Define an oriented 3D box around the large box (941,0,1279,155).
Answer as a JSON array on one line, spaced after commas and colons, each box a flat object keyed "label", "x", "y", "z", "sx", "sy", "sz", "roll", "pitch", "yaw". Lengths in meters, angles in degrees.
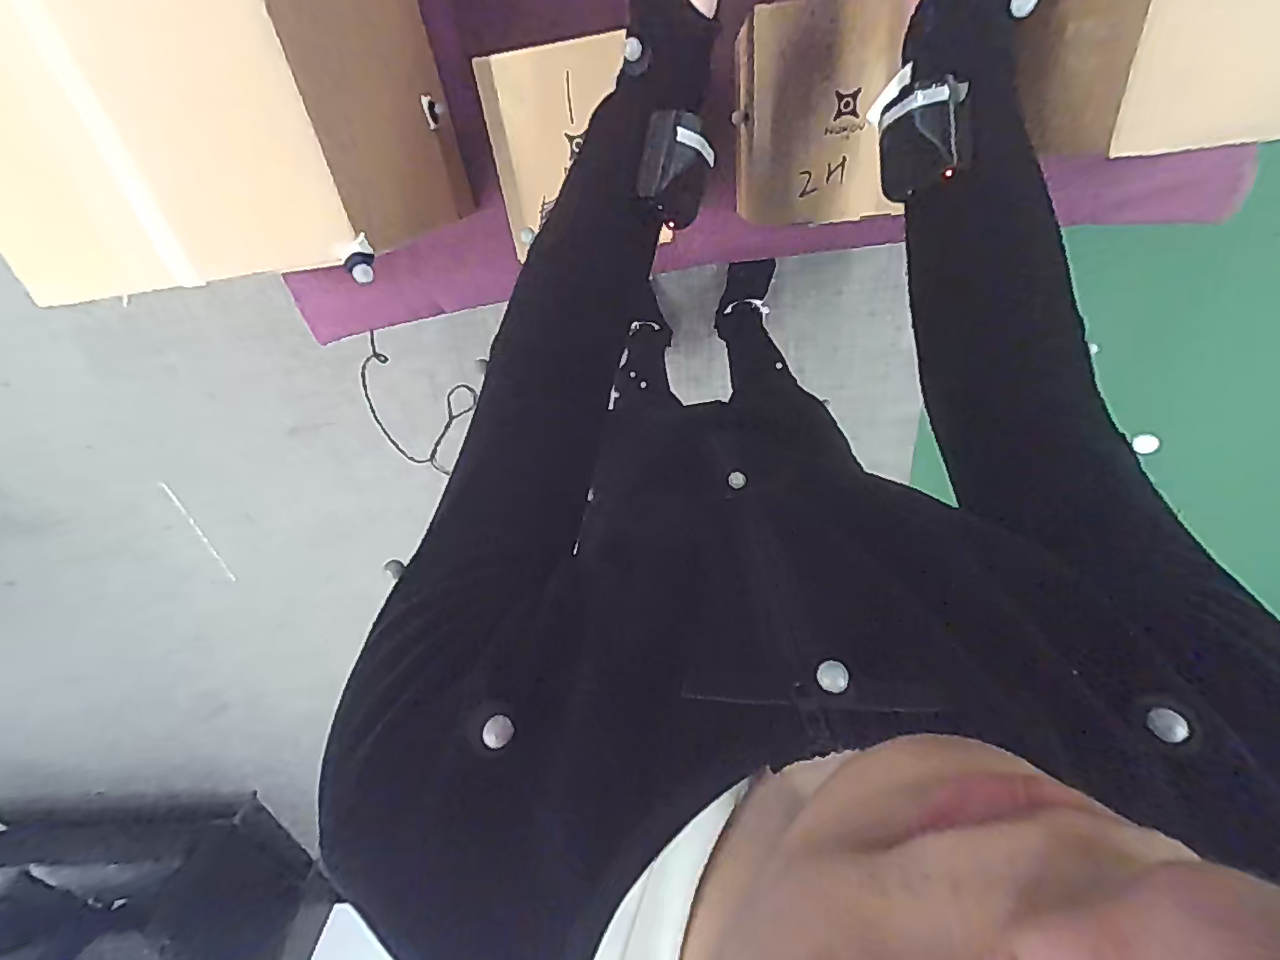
[{"label": "large box", "x": 0.462, "y": -0.491, "z": 0.384, "sx": 0.320, "sy": 0.320, "sz": 0.408, "roll": -4, "pitch": 123, "yaw": 7}]
